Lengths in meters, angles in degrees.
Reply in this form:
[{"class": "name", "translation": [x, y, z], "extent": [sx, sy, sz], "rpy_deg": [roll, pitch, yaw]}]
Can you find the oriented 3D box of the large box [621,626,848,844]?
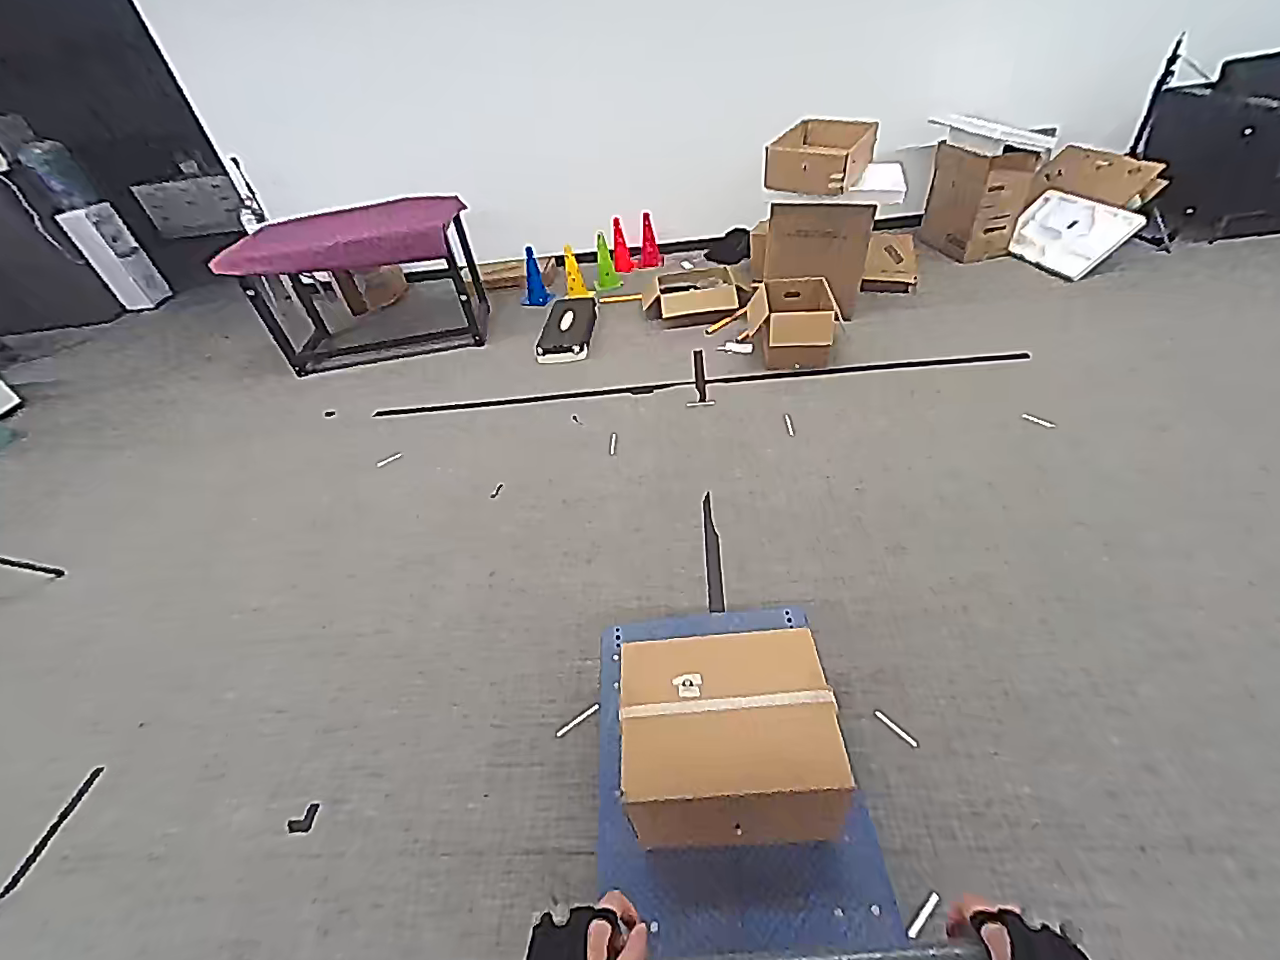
[{"class": "large box", "translation": [0.185, 0.551, 1.163], "extent": [0.408, 0.320, 0.320], "rpy_deg": [-8, 41, 4]}]
